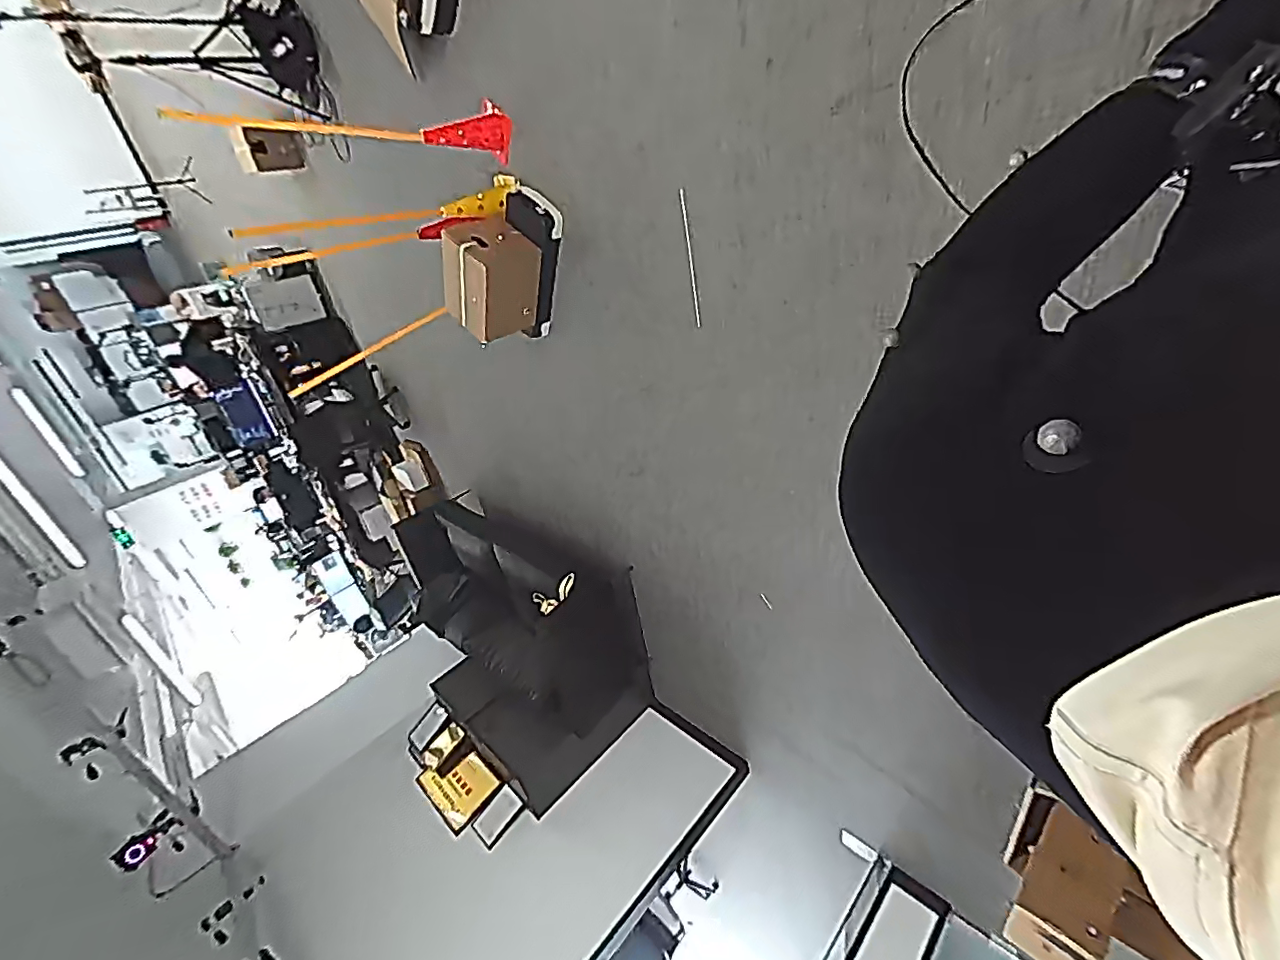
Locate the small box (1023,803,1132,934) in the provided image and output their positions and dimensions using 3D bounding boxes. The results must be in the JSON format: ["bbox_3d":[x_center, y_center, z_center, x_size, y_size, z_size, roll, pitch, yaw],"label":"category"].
[{"bbox_3d":[1.117,0.984,1.381,0.168,0.176,0.179,22,131,42],"label":"small box"}]
